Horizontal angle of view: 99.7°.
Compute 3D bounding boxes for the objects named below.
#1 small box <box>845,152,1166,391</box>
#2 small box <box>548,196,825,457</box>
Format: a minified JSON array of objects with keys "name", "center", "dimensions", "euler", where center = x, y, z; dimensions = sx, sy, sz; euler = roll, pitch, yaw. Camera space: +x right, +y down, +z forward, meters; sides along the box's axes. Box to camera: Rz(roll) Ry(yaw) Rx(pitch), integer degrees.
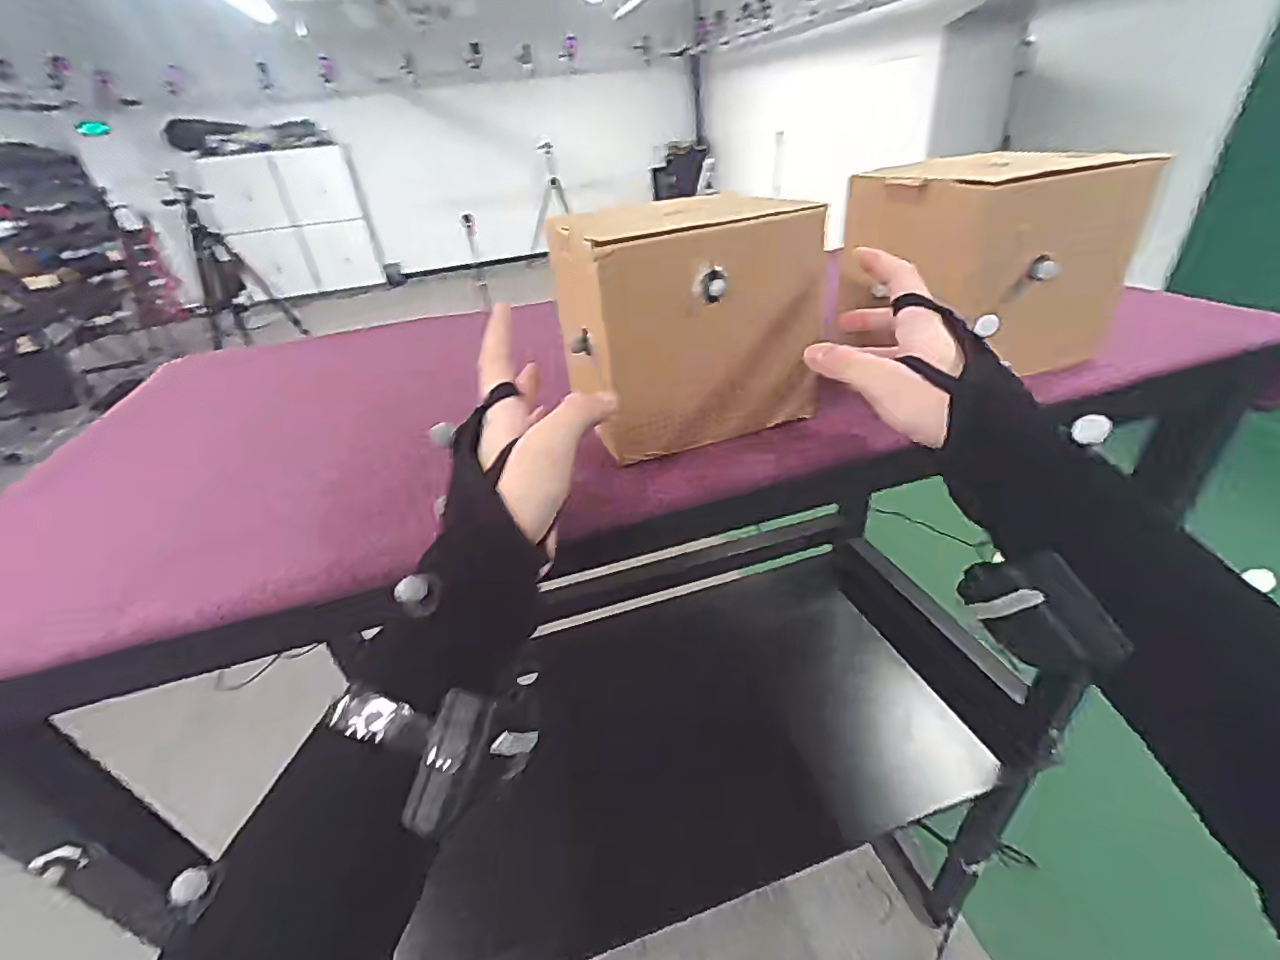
[{"name":"small box","center":[0.312,-0.198,0.508],"dimensions":[0.179,0.176,0.168],"euler":[-15,34,-11]},{"name":"small box","center":[0.034,-0.137,0.463],"dimensions":[0.179,0.176,0.168],"euler":[-15,33,-13]}]
